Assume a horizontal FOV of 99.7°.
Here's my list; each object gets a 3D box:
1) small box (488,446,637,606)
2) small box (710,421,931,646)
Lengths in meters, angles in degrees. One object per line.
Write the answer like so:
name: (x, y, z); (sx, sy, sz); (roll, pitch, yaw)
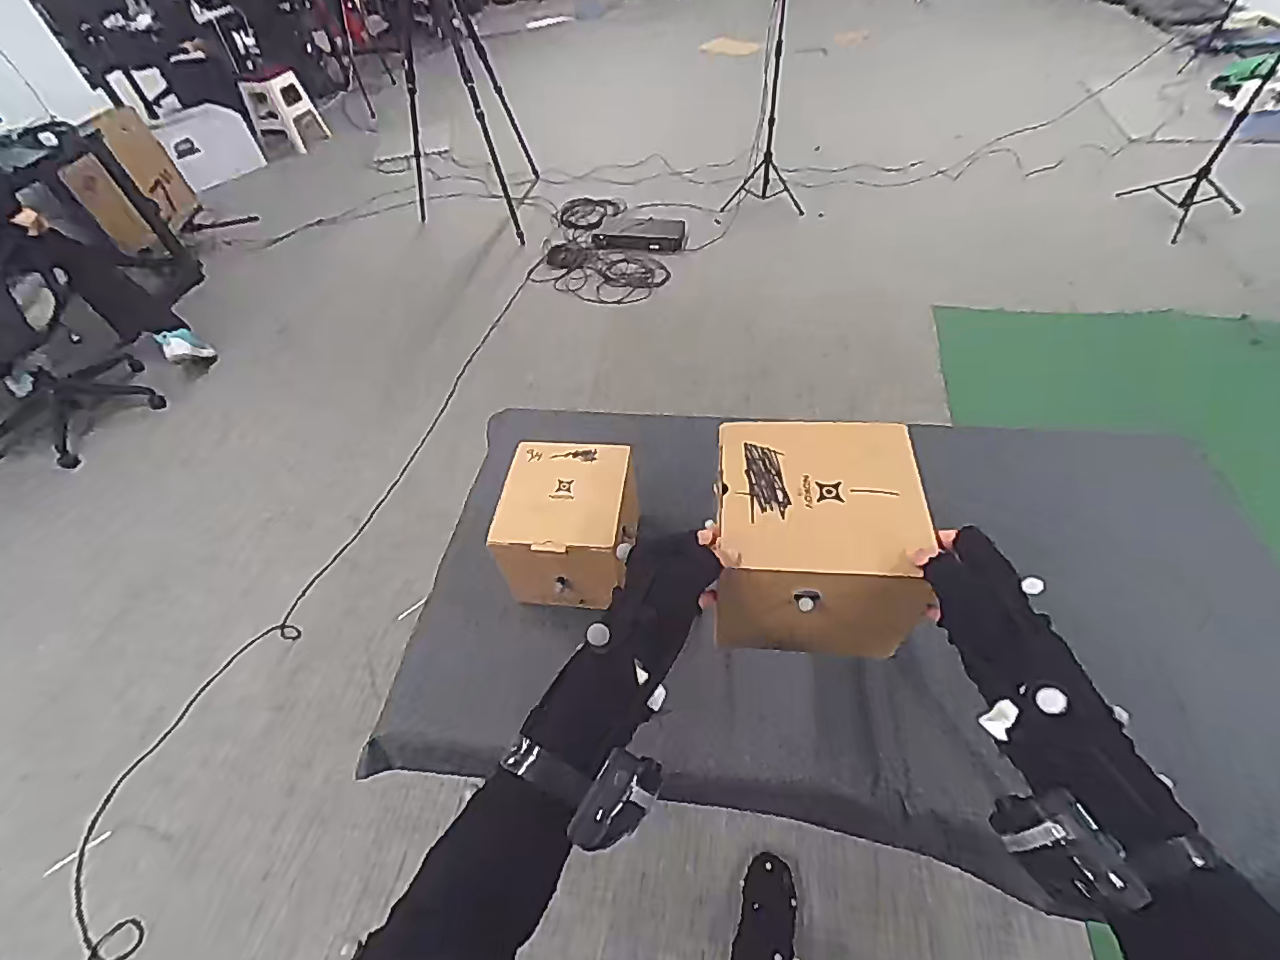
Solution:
small box: (-0.098, 0.070, 0.793); (0.168, 0.176, 0.179); (2, 52, 8)
small box: (0.162, 0.057, 0.547); (0.179, 0.176, 0.168); (1, 52, 8)
